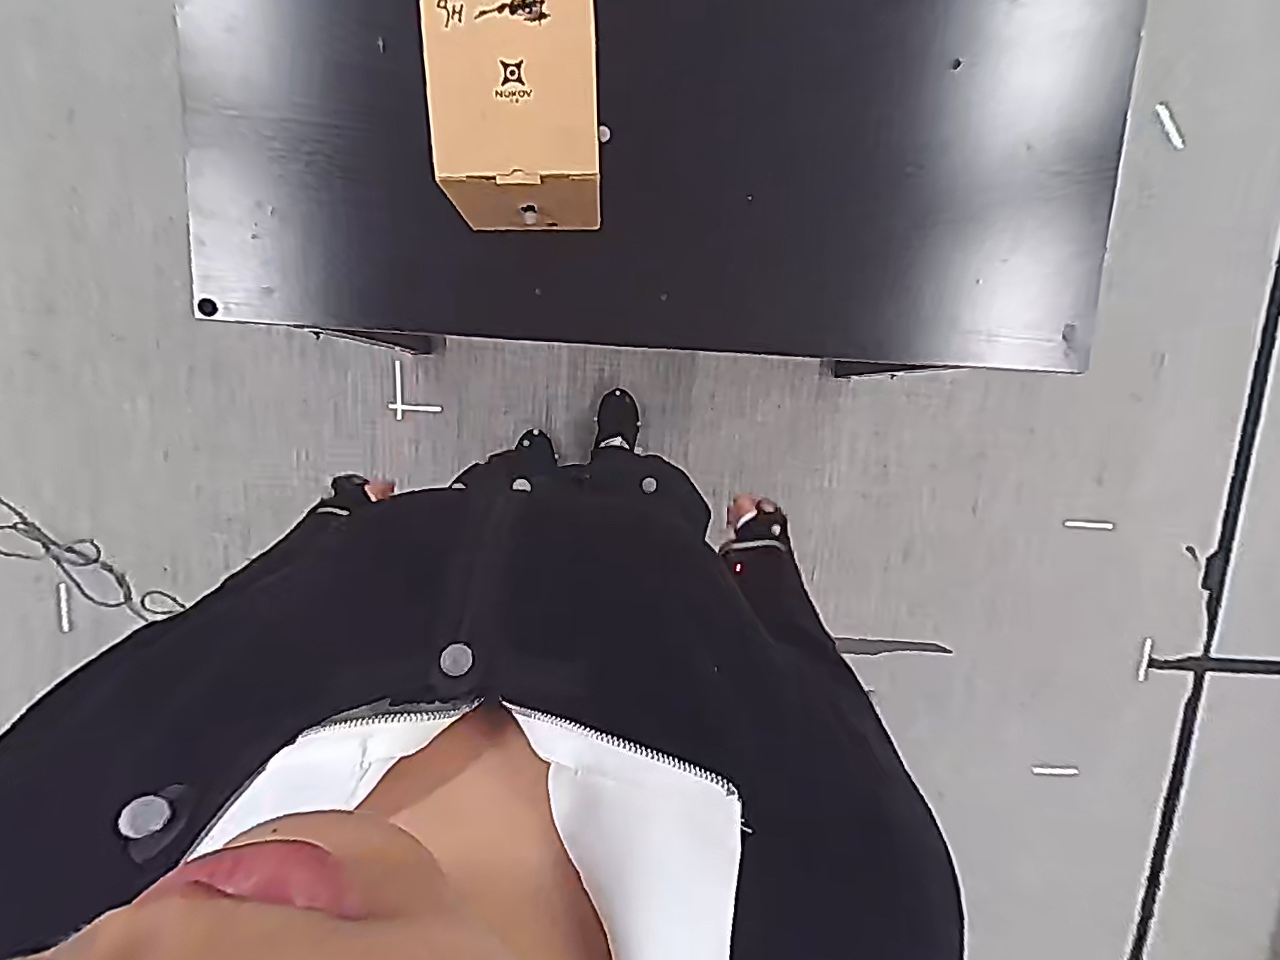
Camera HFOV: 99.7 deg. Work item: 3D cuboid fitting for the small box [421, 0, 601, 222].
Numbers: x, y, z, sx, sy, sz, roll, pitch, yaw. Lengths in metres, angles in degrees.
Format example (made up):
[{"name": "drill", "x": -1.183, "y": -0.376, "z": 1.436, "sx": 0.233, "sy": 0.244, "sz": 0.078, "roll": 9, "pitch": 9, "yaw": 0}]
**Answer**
[{"name": "small box", "x": -0.131, "y": -0.404, "z": 0.610, "sx": 0.168, "sy": 0.176, "sz": 0.179, "roll": -2, "pitch": 99, "yaw": -3}]
